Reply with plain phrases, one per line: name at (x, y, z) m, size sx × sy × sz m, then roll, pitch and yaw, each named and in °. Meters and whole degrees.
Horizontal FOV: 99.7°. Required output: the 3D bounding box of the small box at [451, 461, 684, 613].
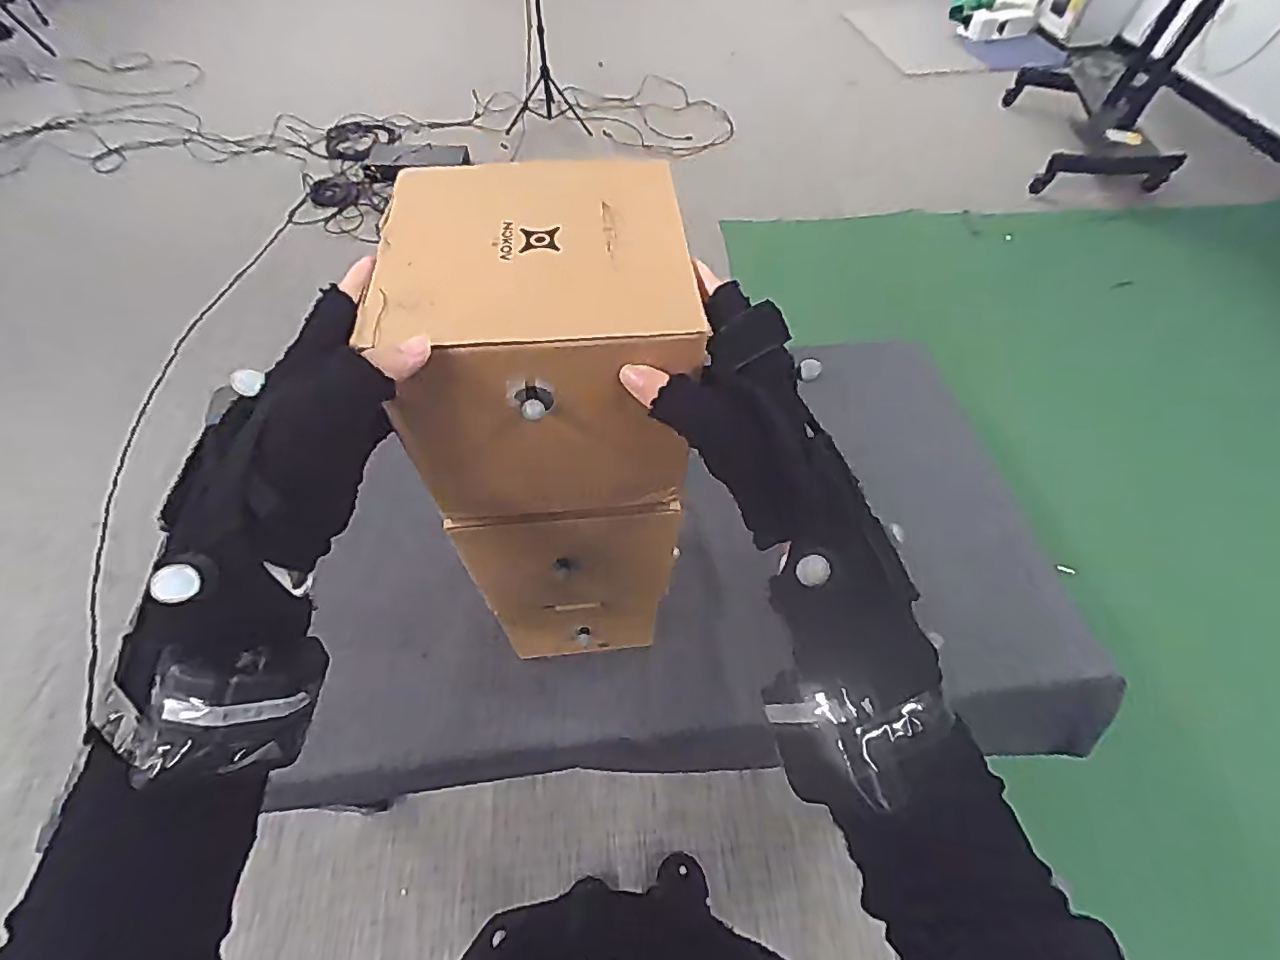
small box at (-0.067, 0.012, 0.509) m, size 0.179 × 0.176 × 0.168 m, roll -6°, pitch 57°, yaw -7°

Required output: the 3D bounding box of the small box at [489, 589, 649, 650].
small box at (-0.079, 0.097, 0.651) m, size 0.168 × 0.176 × 0.179 m, roll -4°, pitch 57°, yaw -5°

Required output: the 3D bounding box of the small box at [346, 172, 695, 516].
small box at (-0.065, -0.085, 0.376) m, size 0.179 × 0.176 × 0.168 m, roll -4°, pitch 57°, yaw -5°
